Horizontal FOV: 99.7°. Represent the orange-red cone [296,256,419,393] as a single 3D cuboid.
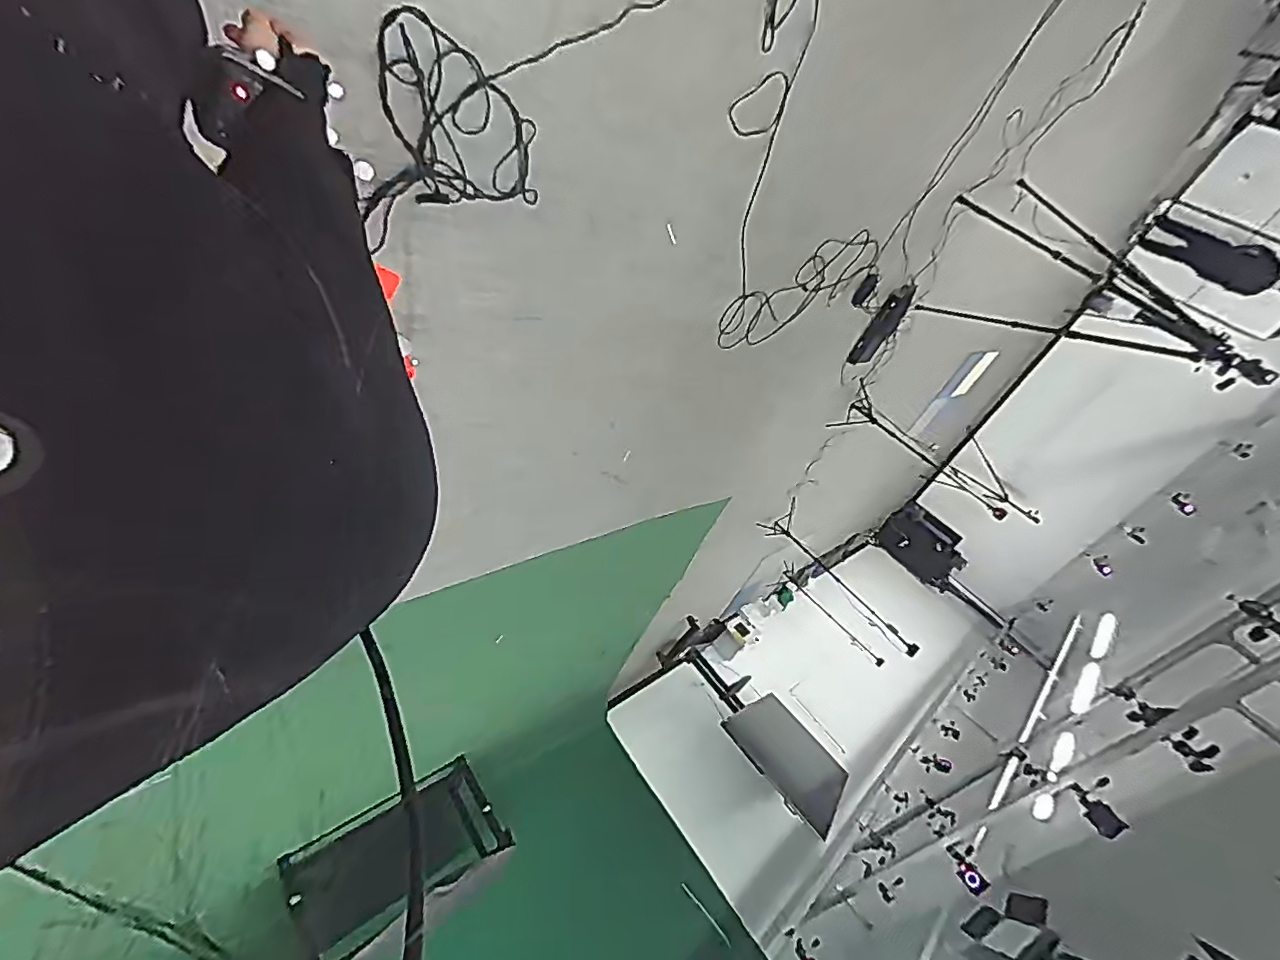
[{"bbox_3d":[-0.592,-0.314,1.228,0.198,0.360,0.199,-52,152,17],"label":"orange-red cone"}]
